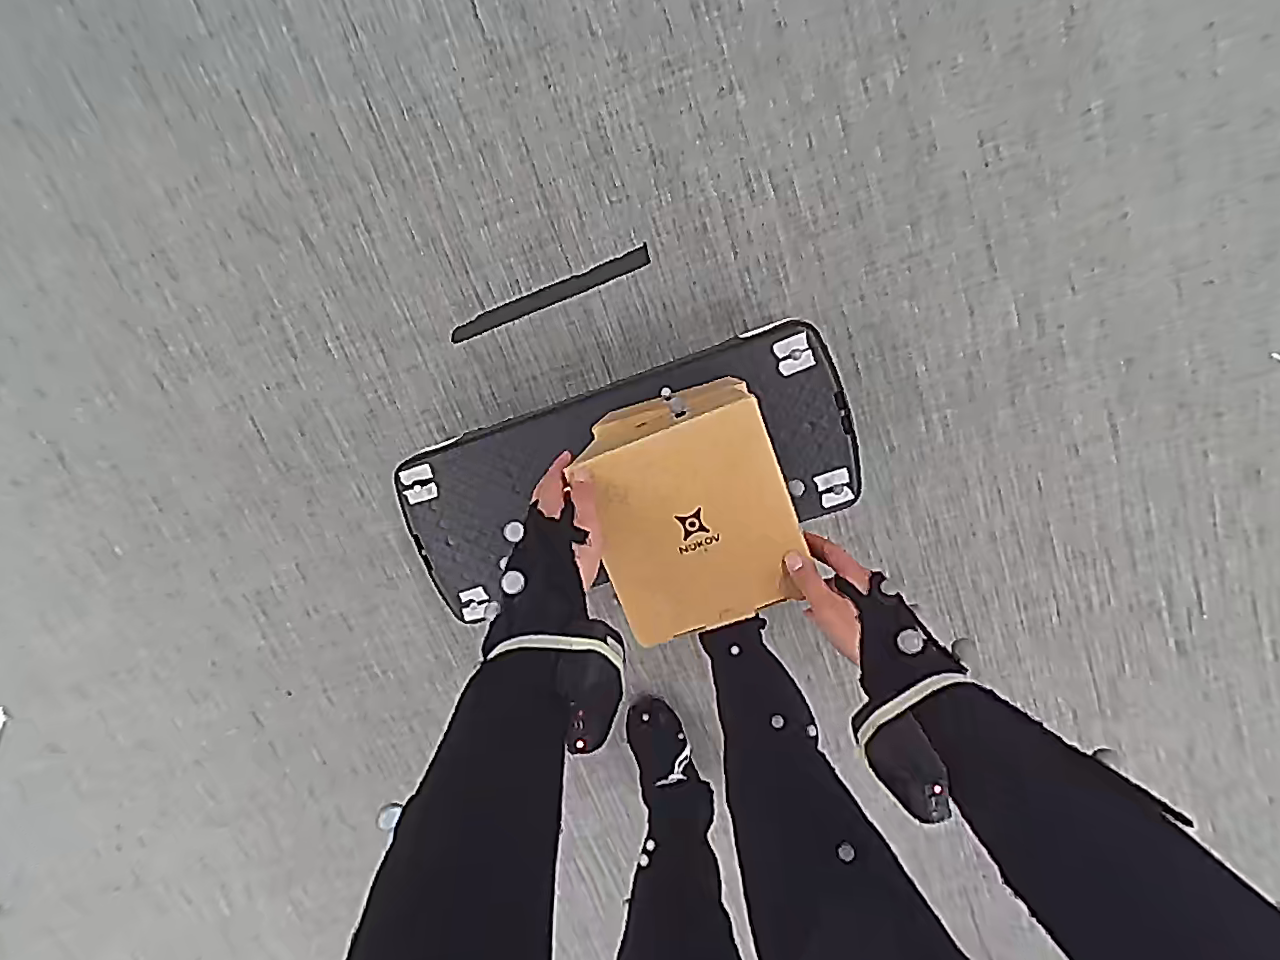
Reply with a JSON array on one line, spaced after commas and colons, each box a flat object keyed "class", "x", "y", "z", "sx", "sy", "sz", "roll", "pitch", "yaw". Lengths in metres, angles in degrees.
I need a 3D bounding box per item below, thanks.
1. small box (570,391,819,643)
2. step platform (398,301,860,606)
[{"class": "small box", "x": 0.048, "y": 0.021, "z": 0.527, "sx": 0.168, "sy": 0.176, "sz": 0.179, "roll": -21, "pitch": 101, "yaw": 7}, {"class": "step platform", "x": -0.018, "y": -0.037, "z": 0.863, "sx": 0.684, "sy": 0.204, "sz": 0.286, "roll": -19, "pitch": 100, "yaw": 8}]
